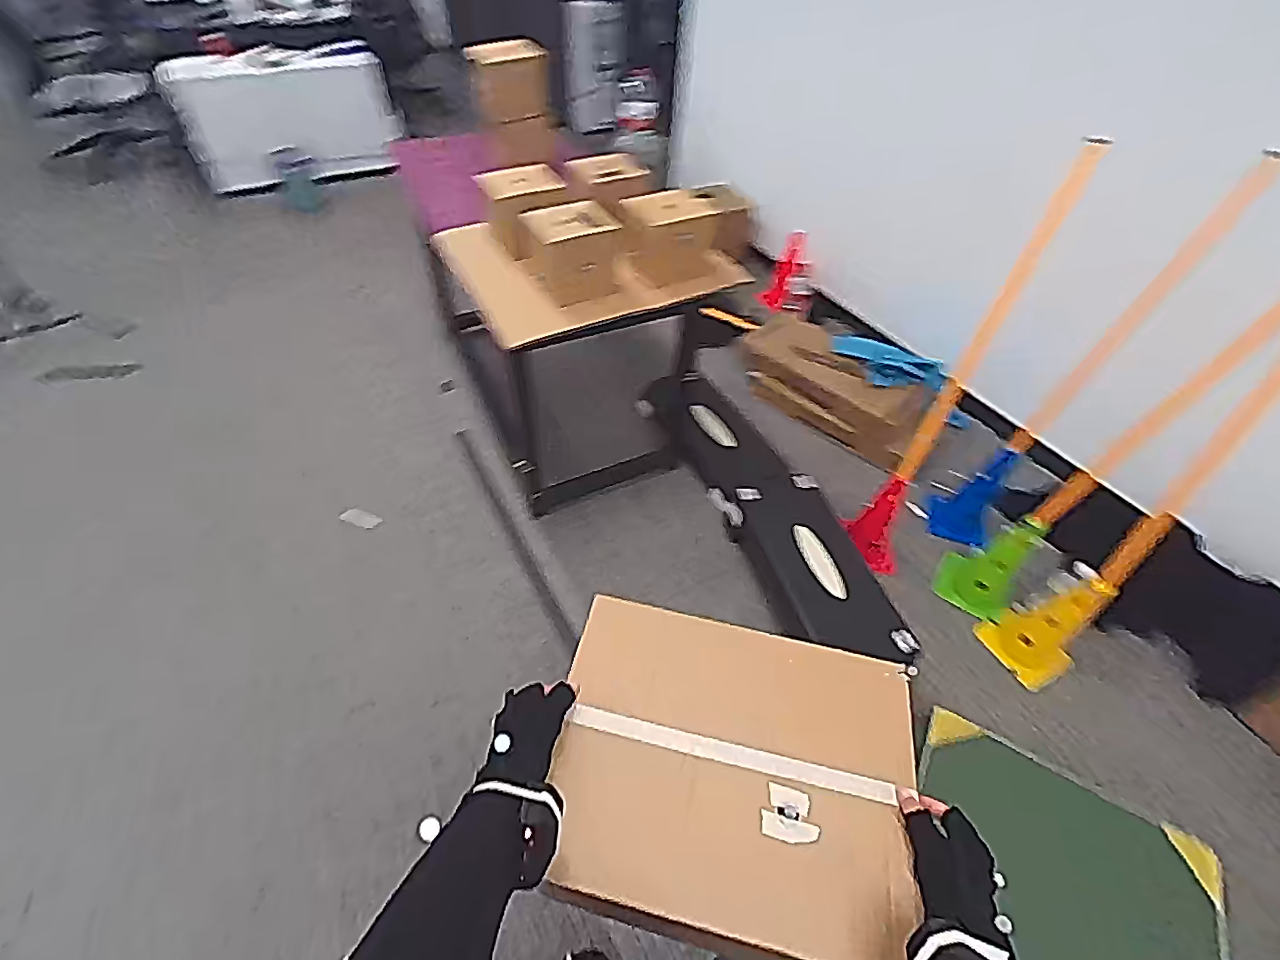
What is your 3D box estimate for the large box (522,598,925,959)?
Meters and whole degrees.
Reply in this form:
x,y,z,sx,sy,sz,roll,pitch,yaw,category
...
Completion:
x,y,z,sx,sy,sz,roll,pitch,yaw,category
0.096,0.402,0.729,0.408,0.320,0.320,11,50,7,large box
